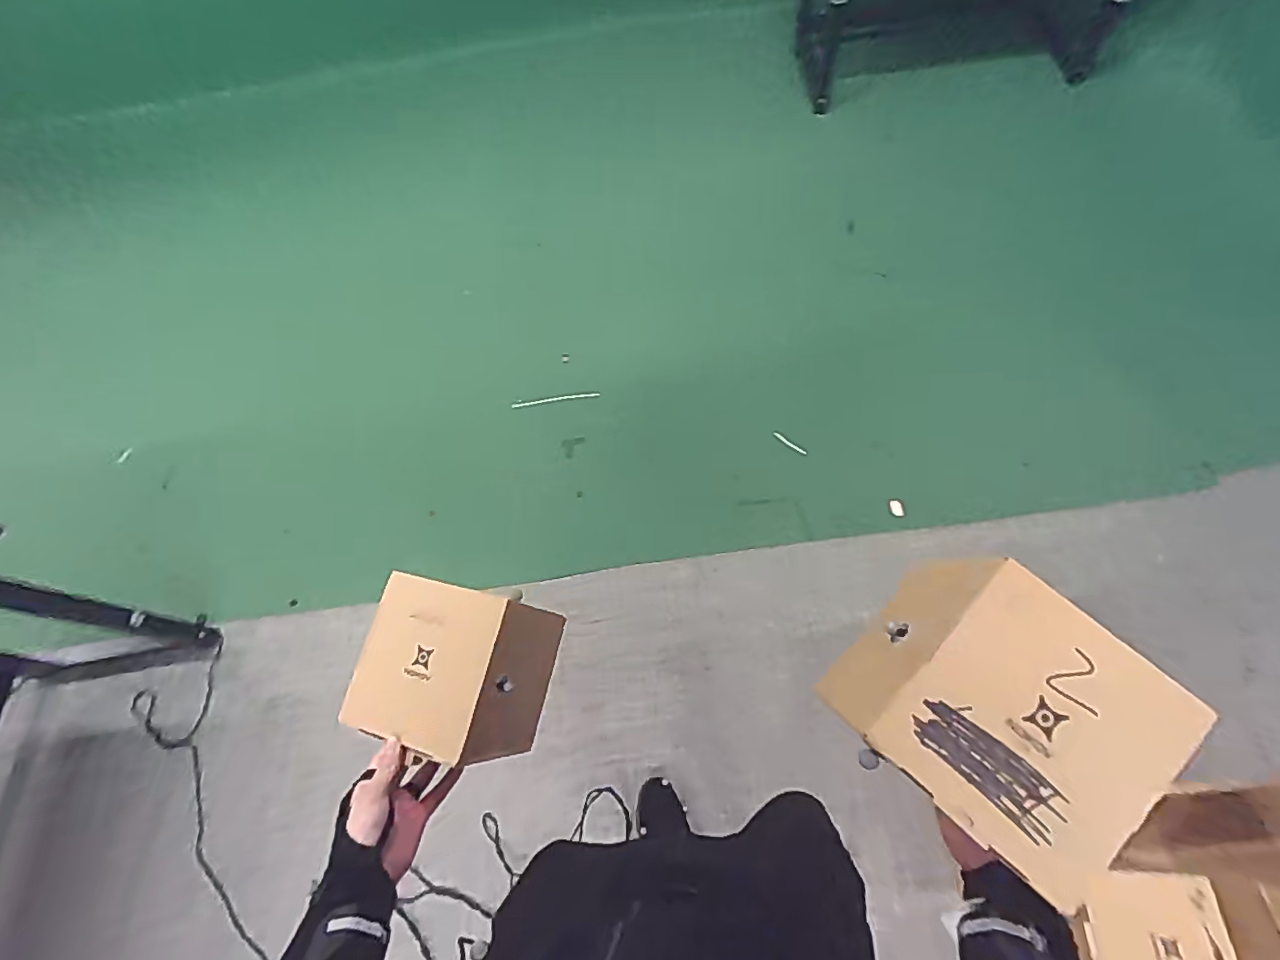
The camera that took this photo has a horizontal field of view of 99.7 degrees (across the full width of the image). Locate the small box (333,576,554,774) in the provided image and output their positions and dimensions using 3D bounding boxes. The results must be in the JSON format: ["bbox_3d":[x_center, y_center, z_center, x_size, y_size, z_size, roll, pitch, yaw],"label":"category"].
[{"bbox_3d":[-0.225,0.234,0.668,0.168,0.176,0.179,8,72,19],"label":"small box"}]

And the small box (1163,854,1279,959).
[{"bbox_3d":[0.939,0.654,0.780,0.179,0.176,0.168,-6,62,4],"label":"small box"}]
